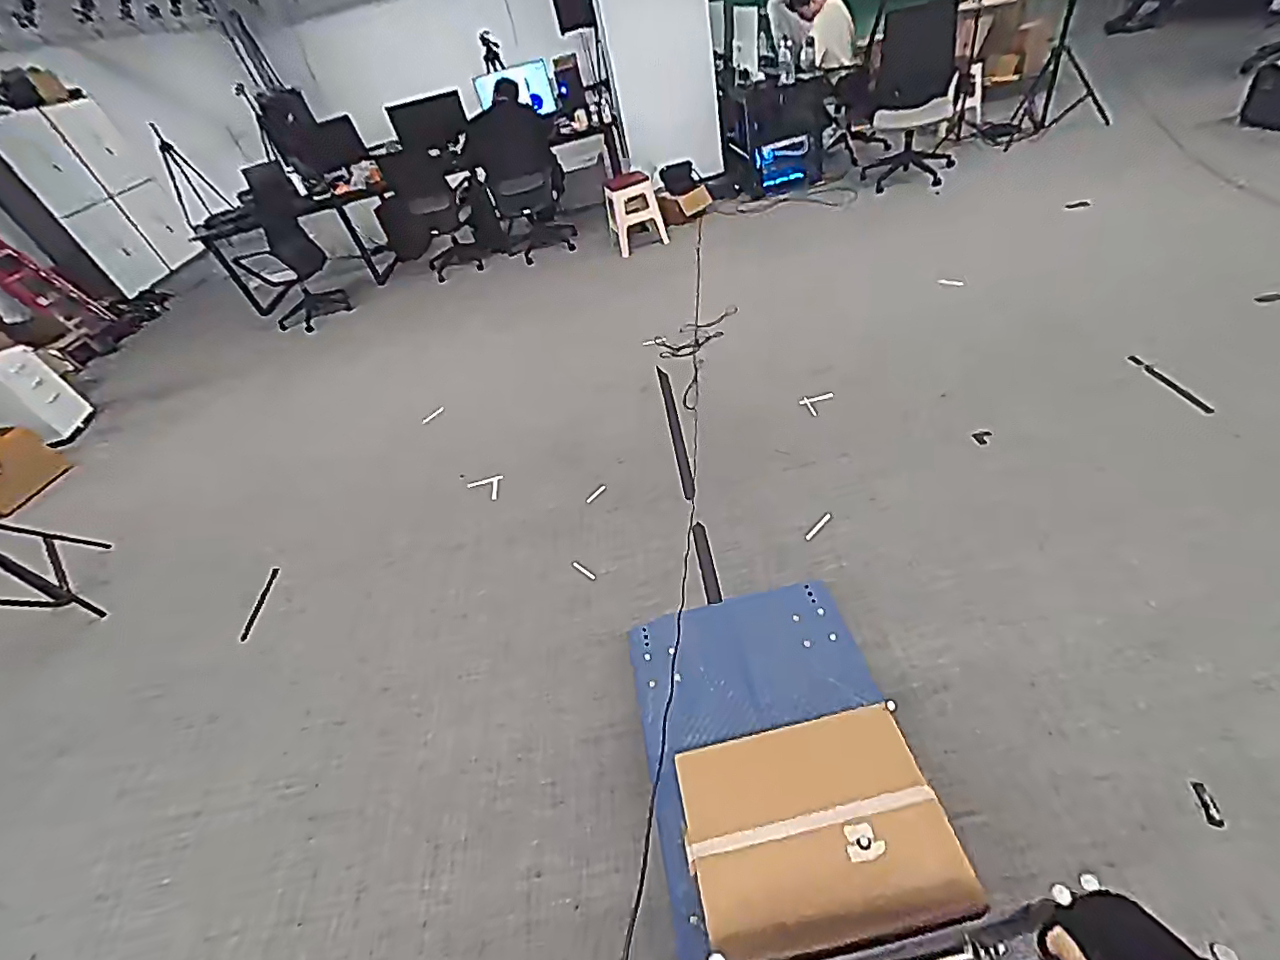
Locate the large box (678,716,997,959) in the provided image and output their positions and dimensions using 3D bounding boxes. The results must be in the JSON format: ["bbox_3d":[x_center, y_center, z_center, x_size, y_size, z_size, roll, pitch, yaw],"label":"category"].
[{"bbox_3d":[0.311,0.680,0.955,0.408,0.320,0.320,-15,41,1],"label":"large box"}]
